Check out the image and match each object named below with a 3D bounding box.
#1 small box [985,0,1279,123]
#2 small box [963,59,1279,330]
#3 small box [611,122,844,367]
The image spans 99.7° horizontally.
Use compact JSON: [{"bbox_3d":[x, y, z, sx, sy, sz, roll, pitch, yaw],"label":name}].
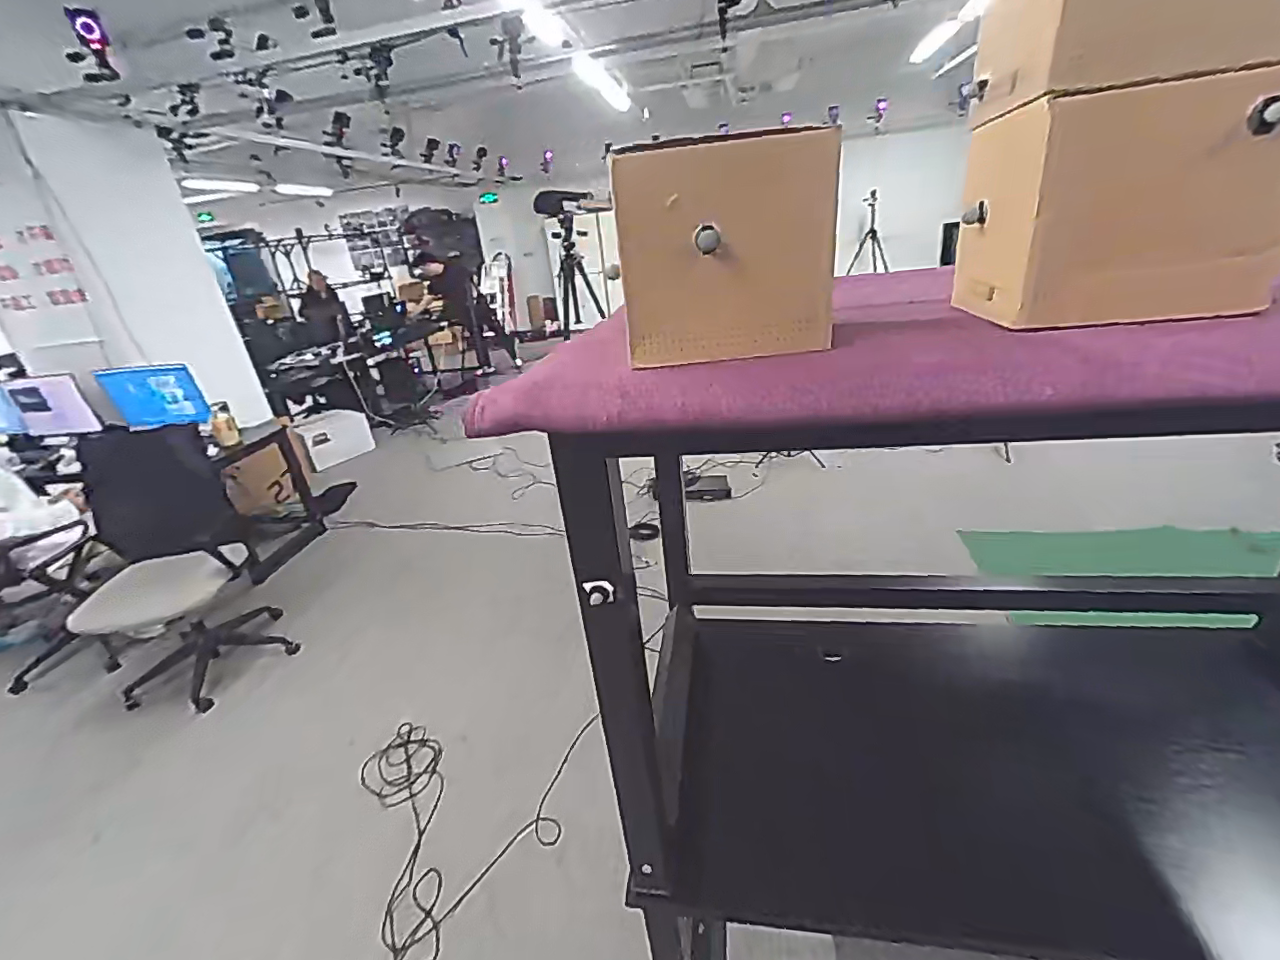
[{"bbox_3d":[0.384,-0.380,0.405,0.179,0.176,0.168,0,24,12],"label":"small box"},{"bbox_3d":[0.400,-0.228,0.466,0.179,0.176,0.168,-1,24,12],"label":"small box"},{"bbox_3d":[0.075,-0.208,0.501,0.179,0.176,0.168,-6,26,3],"label":"small box"}]
